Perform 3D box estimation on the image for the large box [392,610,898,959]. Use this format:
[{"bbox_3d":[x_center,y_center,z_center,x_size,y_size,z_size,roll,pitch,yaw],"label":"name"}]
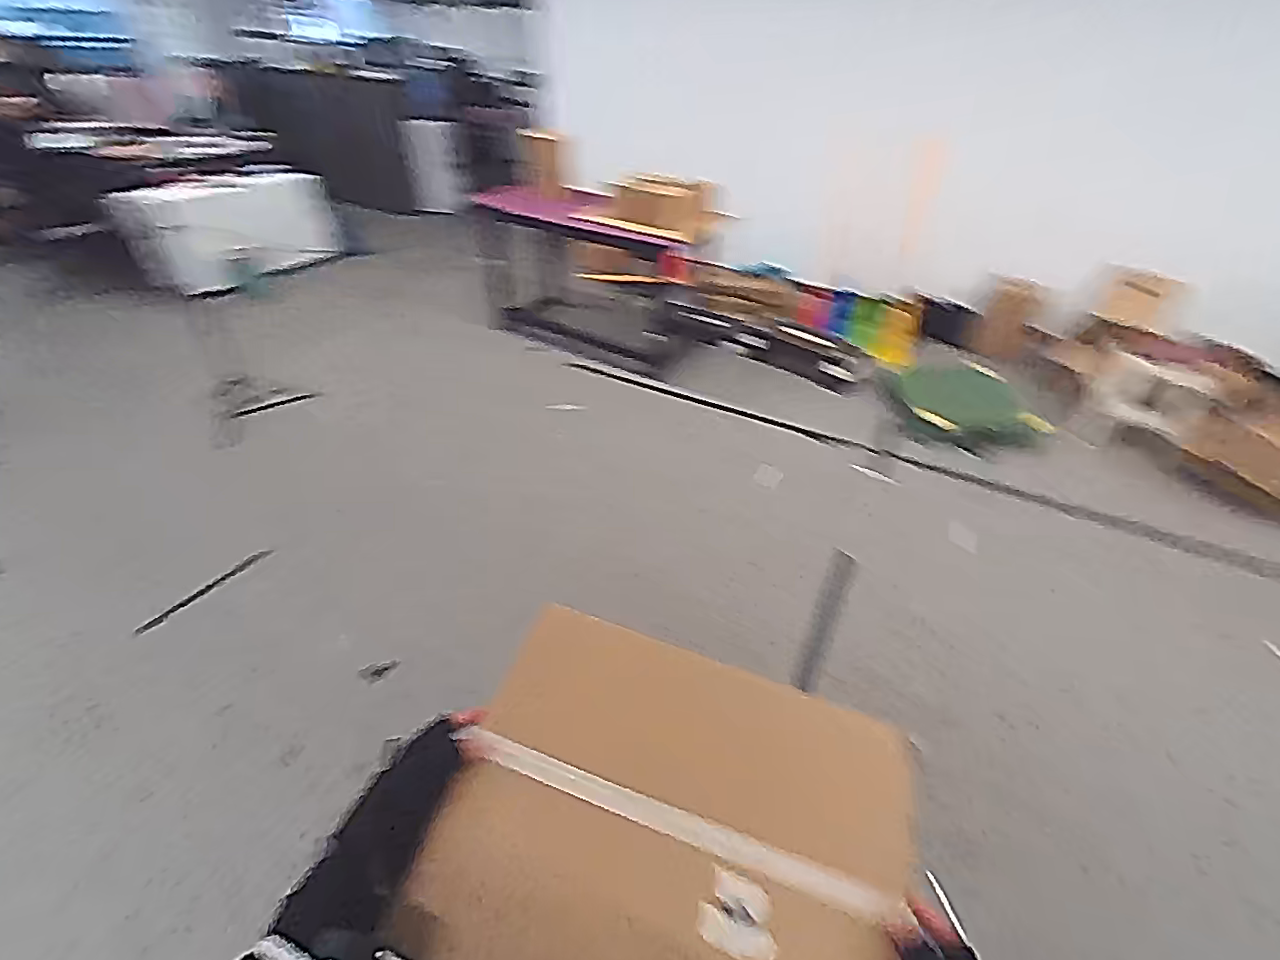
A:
[{"bbox_3d":[0.021,0.405,0.609,0.408,0.320,0.320,17,51,10],"label":"large box"}]
